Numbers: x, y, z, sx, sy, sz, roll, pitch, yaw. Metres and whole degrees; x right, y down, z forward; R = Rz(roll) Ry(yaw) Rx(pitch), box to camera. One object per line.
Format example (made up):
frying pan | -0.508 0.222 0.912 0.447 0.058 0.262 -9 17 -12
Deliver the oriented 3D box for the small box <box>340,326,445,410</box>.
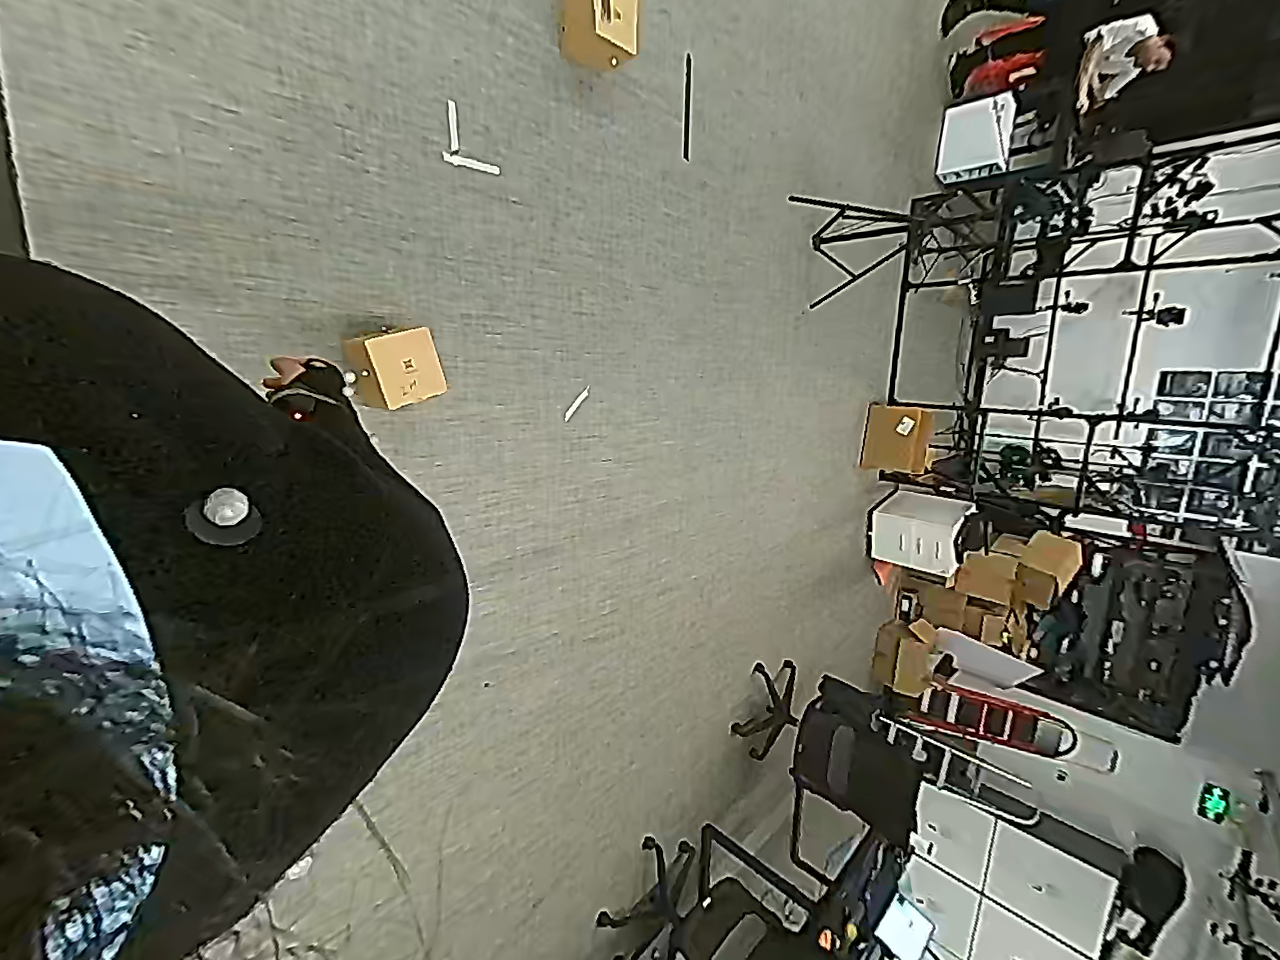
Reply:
small box | -0.639 -0.290 1.393 0.168 0.176 0.179 -30 120 -39
